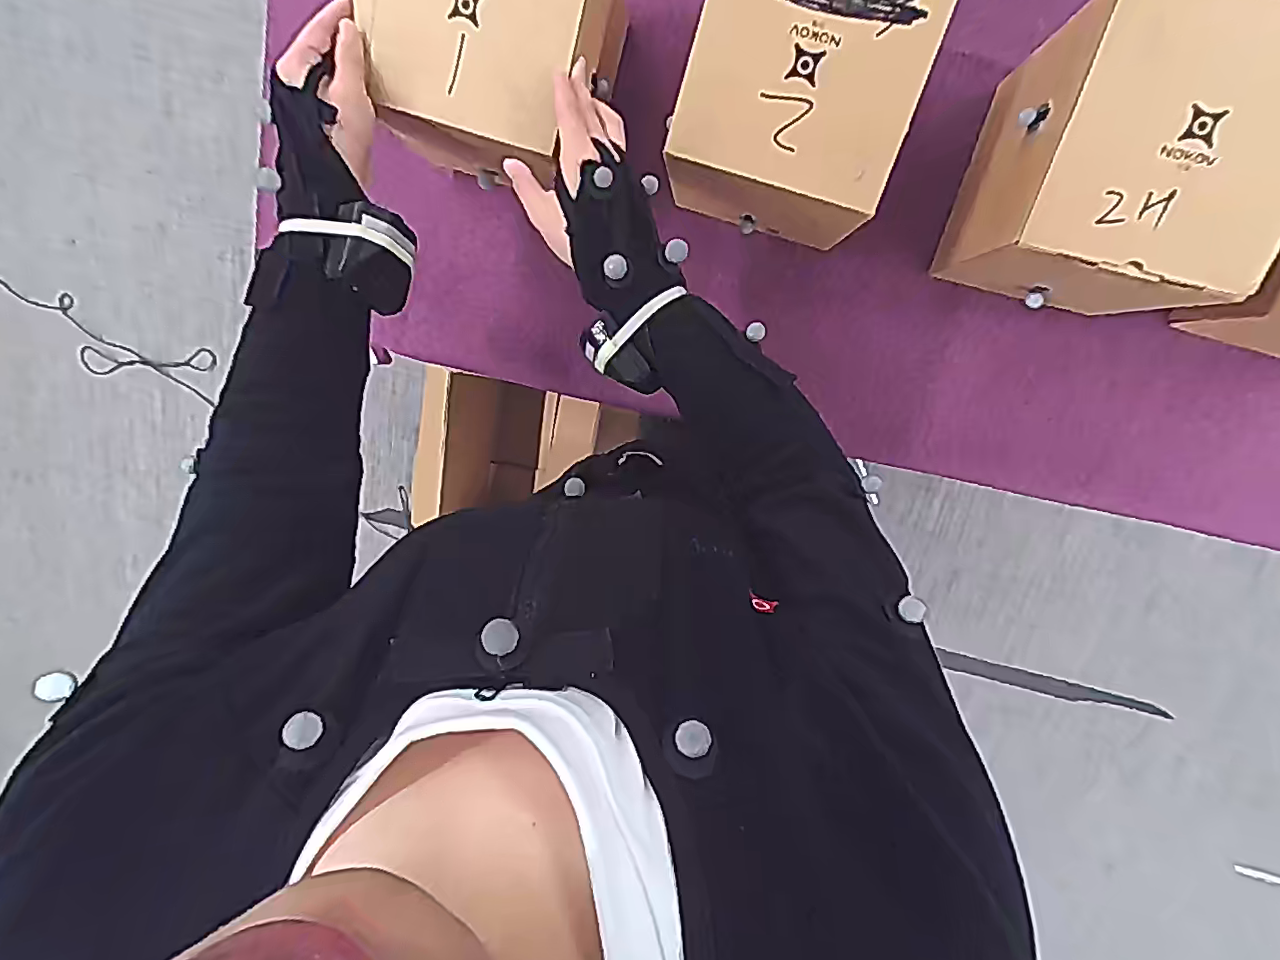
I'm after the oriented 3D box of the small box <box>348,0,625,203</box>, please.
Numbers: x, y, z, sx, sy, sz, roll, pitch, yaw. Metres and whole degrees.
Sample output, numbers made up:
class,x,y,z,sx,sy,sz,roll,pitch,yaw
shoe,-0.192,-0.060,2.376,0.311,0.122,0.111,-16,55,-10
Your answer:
class,x,y,z,sx,sy,sz,roll,pitch,yaw
small box,-0.113,-0.367,0.462,0.168,0.176,0.179,17,105,-2

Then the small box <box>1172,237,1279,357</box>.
class,x,y,z,sx,sy,sz,roll,pitch,yaw
small box,0.613,-0.186,0.431,0.179,0.176,0.168,18,104,3

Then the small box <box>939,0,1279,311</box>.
class,x,y,z,sx,sy,sz,roll,pitch,yaw
small box,0.381,-0.250,0.442,0.168,0.176,0.179,16,105,3
